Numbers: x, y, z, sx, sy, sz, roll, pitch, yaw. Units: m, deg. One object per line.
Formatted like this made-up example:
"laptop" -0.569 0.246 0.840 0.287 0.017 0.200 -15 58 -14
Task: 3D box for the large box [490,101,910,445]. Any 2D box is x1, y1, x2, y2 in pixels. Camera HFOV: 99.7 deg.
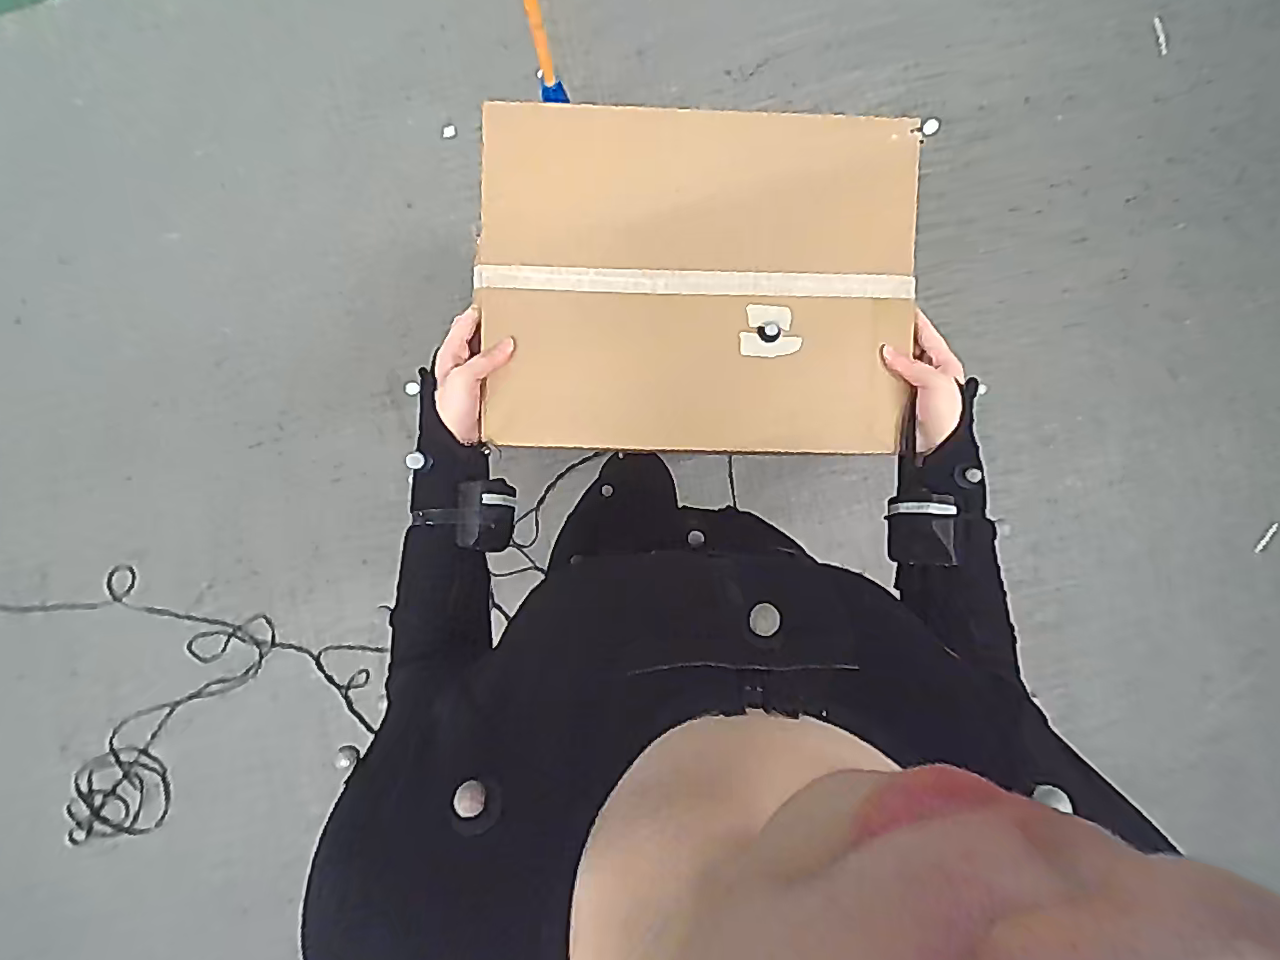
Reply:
"large box" 0.050 -0.201 0.661 0.408 0.320 0.320 1 93 -3
